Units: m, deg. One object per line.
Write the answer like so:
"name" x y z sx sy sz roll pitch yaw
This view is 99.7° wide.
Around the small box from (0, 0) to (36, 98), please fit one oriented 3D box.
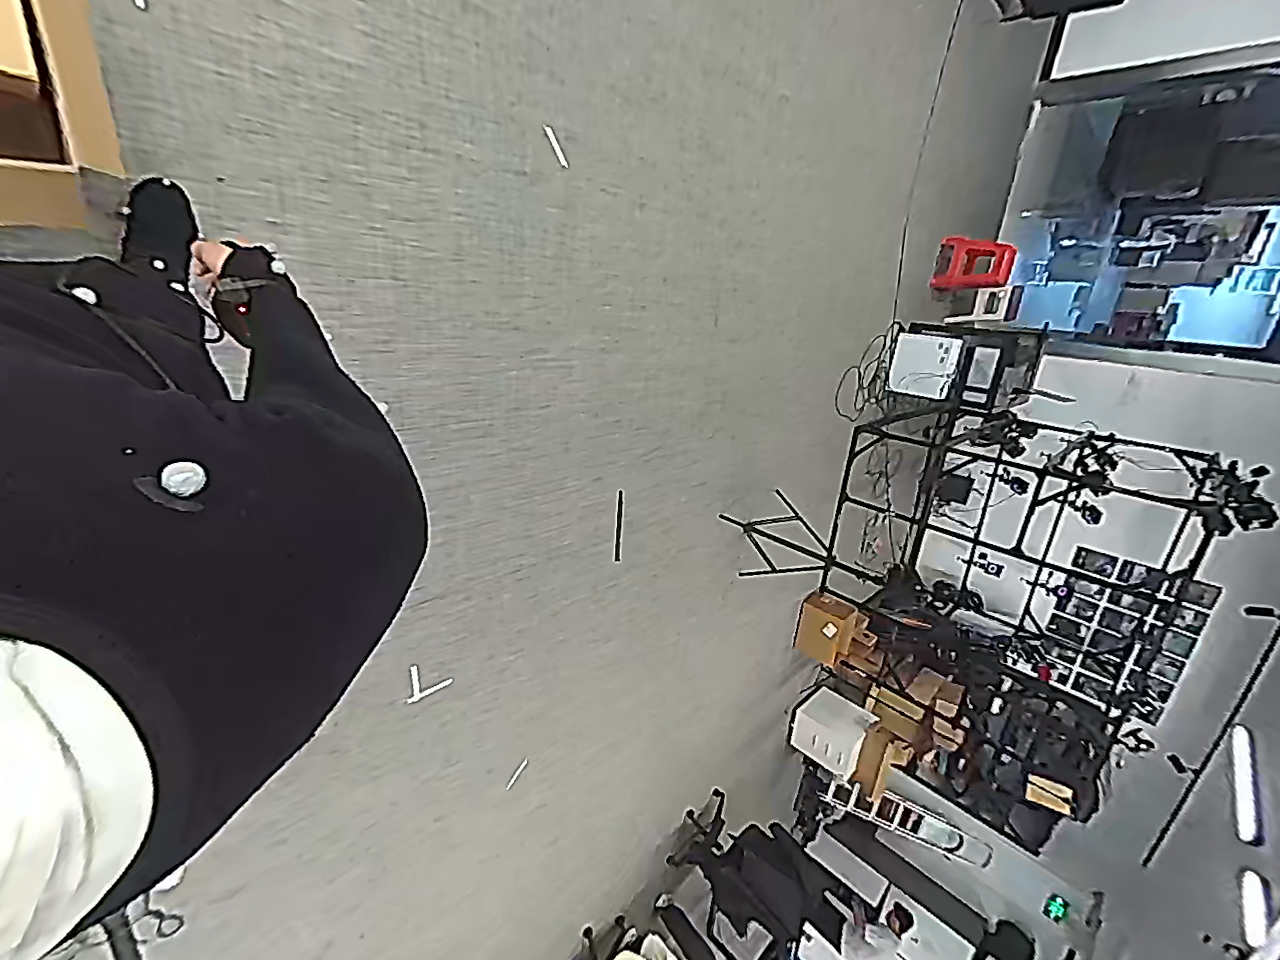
"small box" -0.981 -0.669 0.752 0.168 0.176 0.179 -12 115 -43
